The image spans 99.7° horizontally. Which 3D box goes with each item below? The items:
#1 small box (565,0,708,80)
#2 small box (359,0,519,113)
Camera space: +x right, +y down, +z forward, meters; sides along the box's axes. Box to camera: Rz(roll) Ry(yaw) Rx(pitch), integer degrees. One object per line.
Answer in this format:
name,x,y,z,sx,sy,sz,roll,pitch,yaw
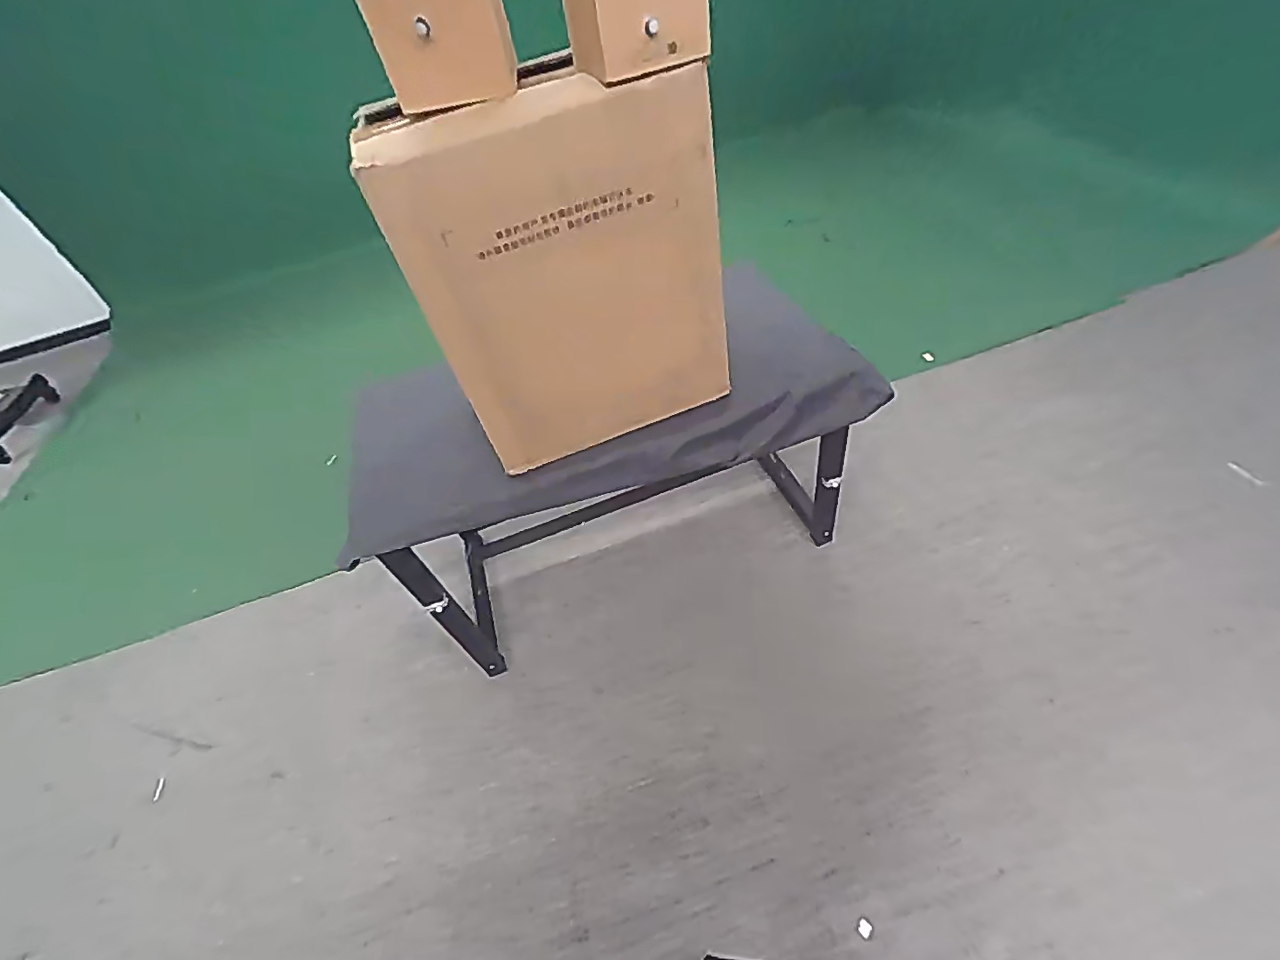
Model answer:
small box,-0.013,-0.699,0.775,0.168,0.176,0.179,-21,48,-7
small box,-0.292,-0.677,0.802,0.179,0.176,0.168,-11,56,2
